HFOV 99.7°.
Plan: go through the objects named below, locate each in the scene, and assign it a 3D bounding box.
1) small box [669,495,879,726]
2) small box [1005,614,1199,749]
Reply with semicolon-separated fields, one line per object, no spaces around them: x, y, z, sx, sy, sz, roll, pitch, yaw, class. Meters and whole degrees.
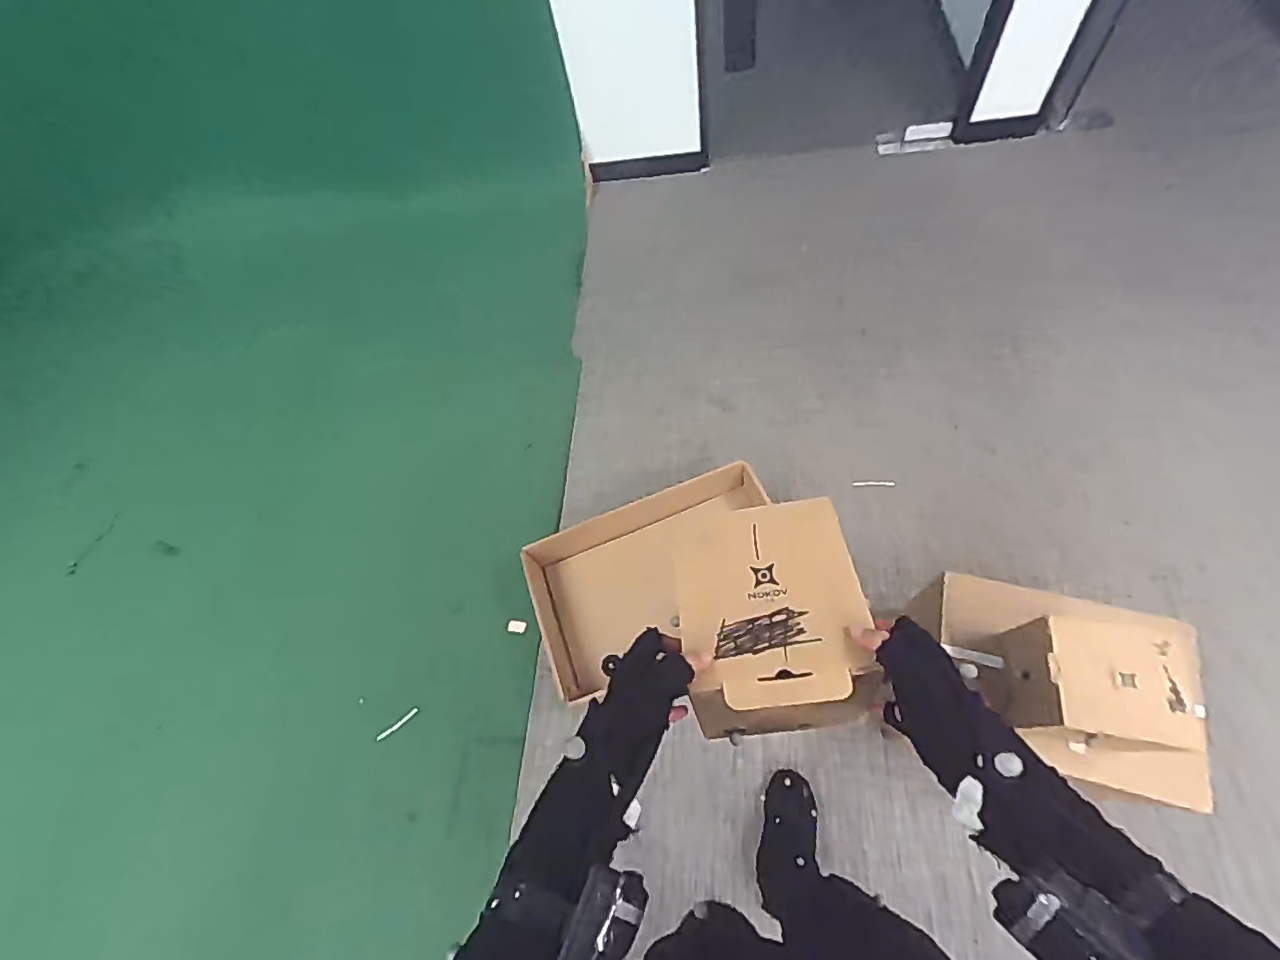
0.129;0.144;0.562;0.168;0.176;0.179;-10;50;7;small box
0.712;0.325;0.863;0.179;0.176;0.168;6;65;13;small box
